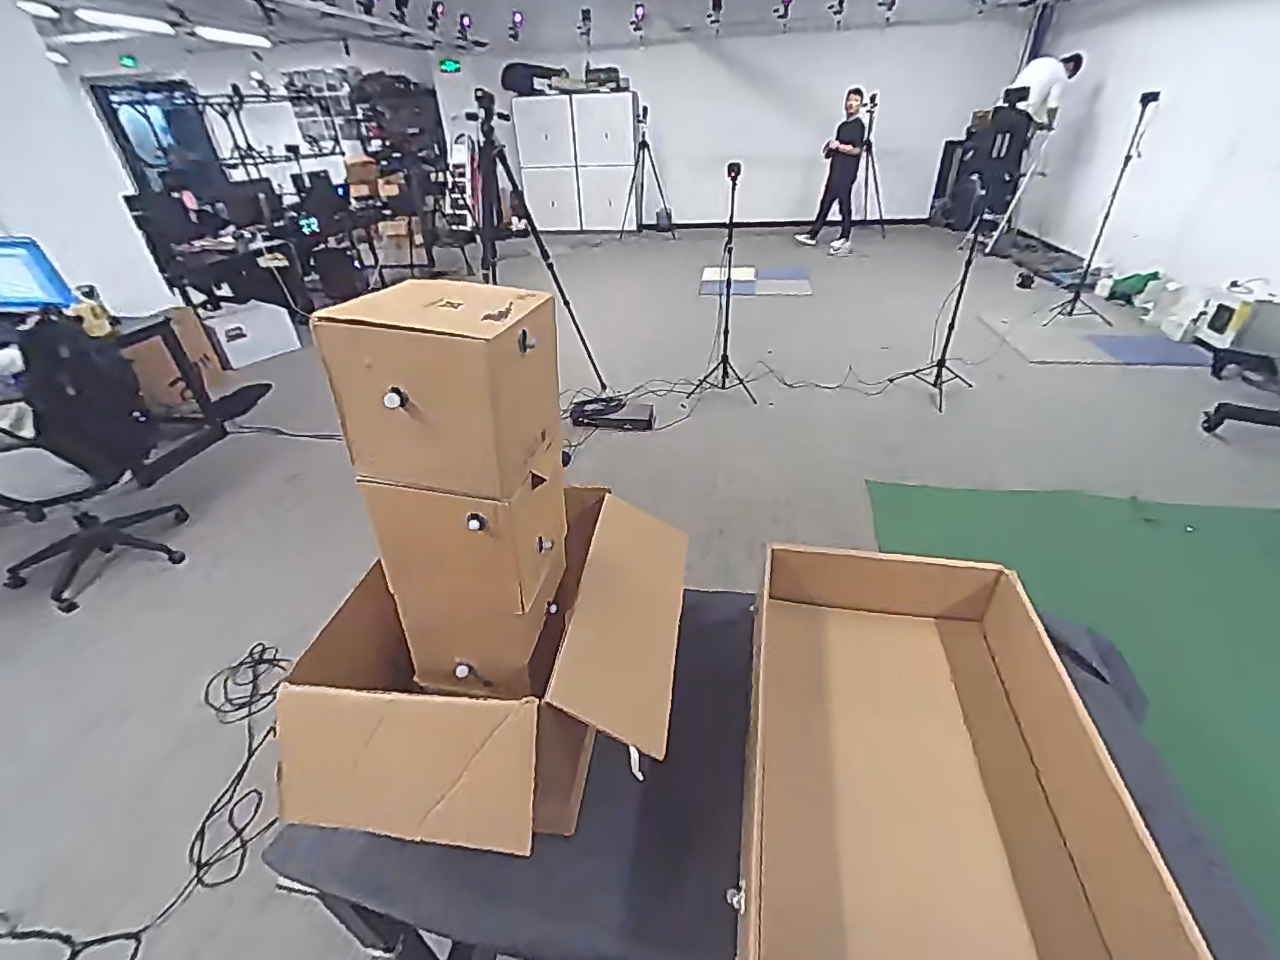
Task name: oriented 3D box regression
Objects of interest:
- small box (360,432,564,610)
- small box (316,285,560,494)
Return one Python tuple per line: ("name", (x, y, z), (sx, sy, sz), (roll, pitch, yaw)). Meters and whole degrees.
("small box", (-0.201, 0.038, 0.666), (0.179, 0.176, 0.168), (8, 33, 7))
("small box", (-0.195, -0.101, 0.580), (0.179, 0.176, 0.168), (8, 33, 9))
